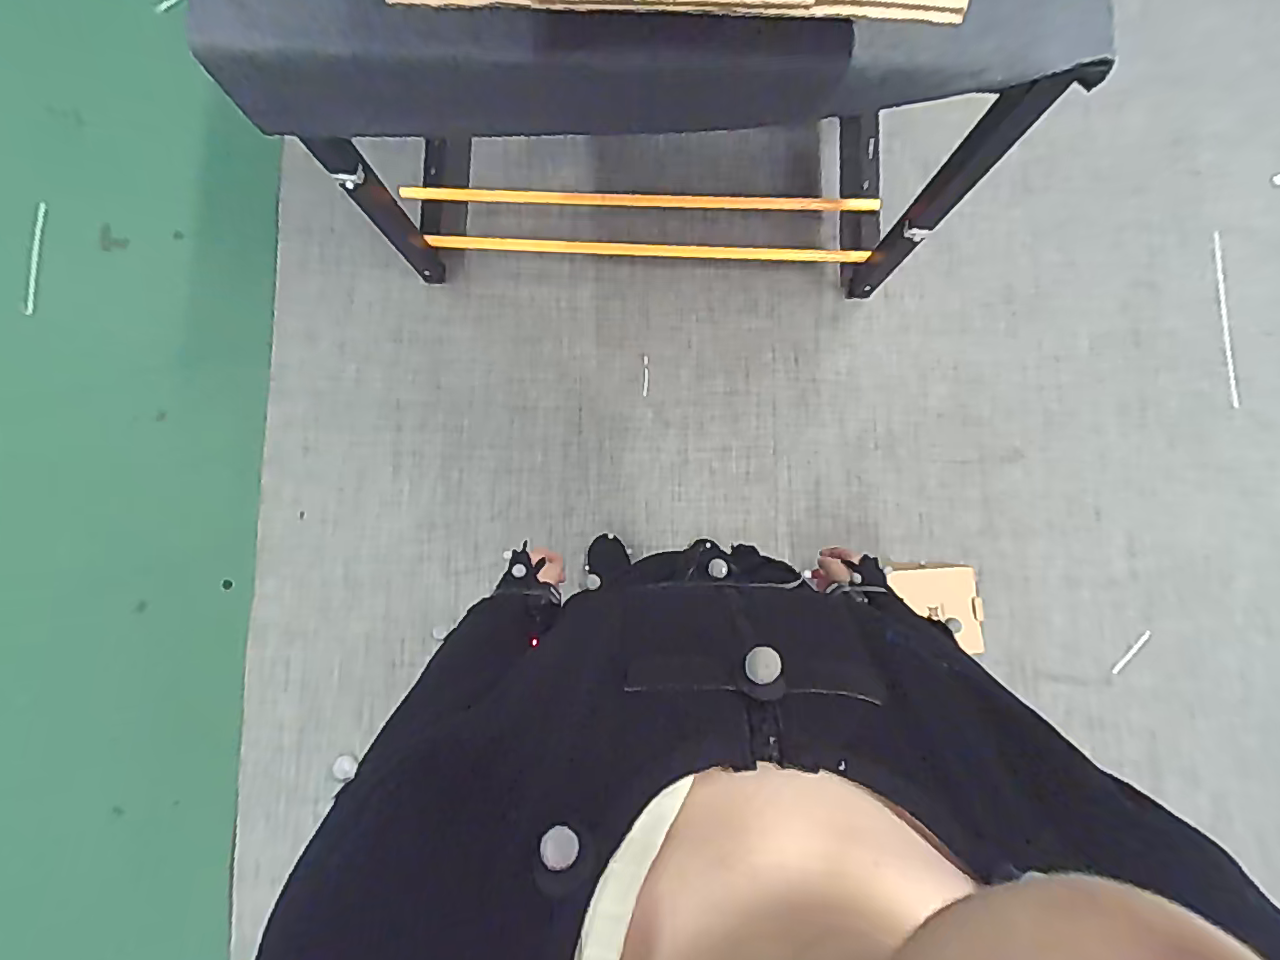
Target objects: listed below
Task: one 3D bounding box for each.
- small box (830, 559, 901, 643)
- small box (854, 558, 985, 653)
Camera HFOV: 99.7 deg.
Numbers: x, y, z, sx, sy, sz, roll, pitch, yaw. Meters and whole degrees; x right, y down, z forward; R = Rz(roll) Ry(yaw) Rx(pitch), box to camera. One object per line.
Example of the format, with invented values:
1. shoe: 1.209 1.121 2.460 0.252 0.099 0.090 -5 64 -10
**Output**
1. small box: 0.562 0.277 1.276 0.168 0.176 0.179 -4 84 0
2. small box: 0.566 0.251 1.114 0.179 0.176 0.168 -4 84 1
